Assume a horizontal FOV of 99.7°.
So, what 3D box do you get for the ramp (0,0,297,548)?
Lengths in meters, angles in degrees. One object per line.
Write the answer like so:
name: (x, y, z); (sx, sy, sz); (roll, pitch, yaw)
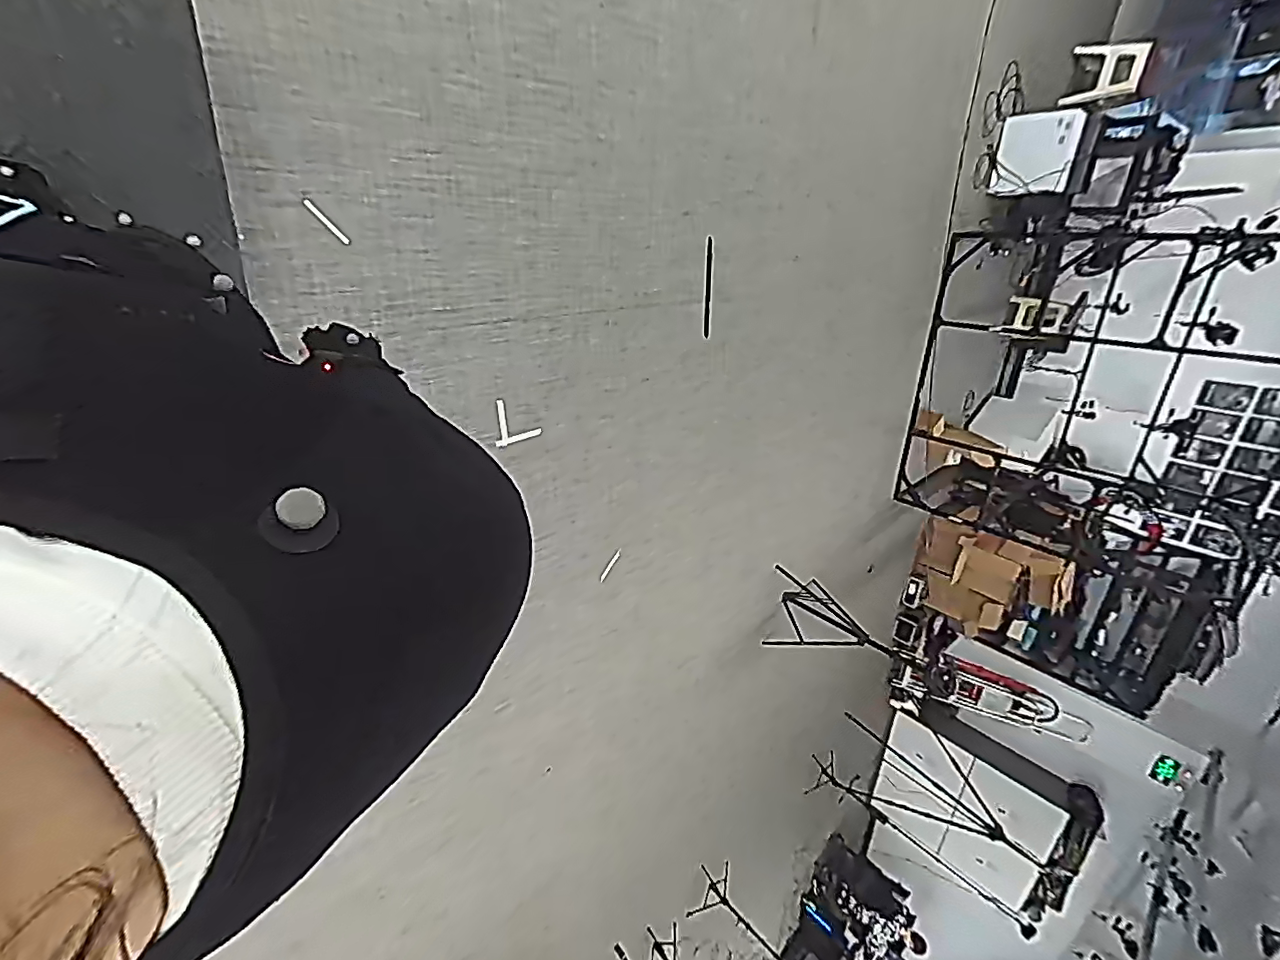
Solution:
ramp: (-1.015, -0.343, 1.023); (0.509, 0.206, 0.991); (-21, 122, -38)
